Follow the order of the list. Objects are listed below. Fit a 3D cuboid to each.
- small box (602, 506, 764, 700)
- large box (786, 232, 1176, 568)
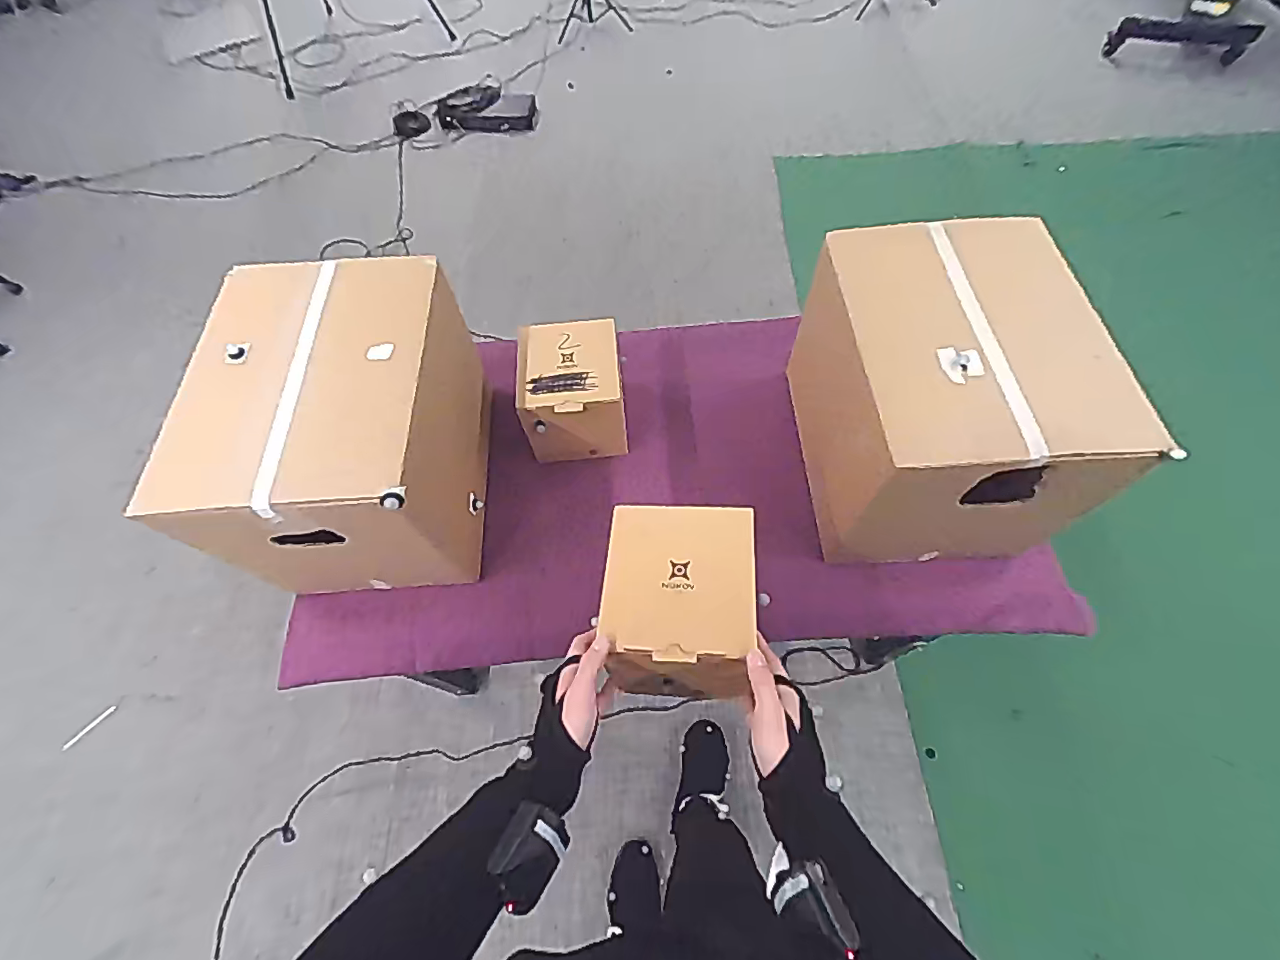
[{"bbox_3d":[0.056,0.149,0.652,0.168,0.176,0.179,1,56,7],"label":"small box"},{"bbox_3d":[0.437,-0.111,0.824,0.320,0.320,0.408,-4,62,1],"label":"large box"}]
